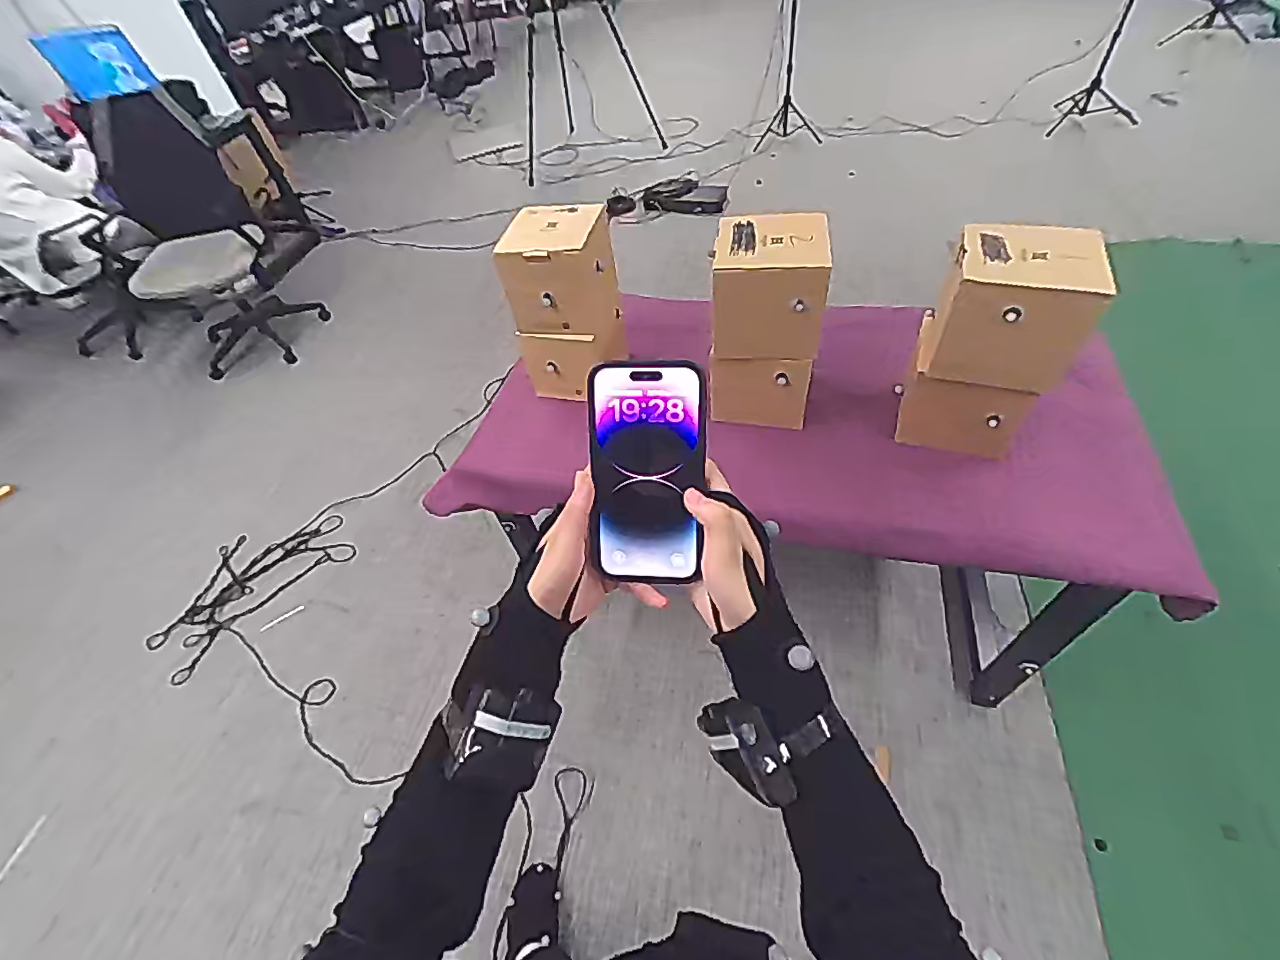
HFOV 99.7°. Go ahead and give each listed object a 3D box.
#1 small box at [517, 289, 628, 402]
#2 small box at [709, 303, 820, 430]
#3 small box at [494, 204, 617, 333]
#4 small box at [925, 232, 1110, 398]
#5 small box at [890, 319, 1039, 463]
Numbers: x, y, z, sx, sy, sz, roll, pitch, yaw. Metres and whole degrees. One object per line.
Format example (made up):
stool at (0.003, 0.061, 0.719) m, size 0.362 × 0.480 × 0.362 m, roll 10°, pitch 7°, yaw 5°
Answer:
small box at (-0.132, -0.288, 1.149) m, size 0.168 × 0.176 × 0.179 m, roll 9°, pitch 53°, yaw 16°
small box at (0.234, -0.214, 1.032) m, size 0.179 × 0.176 × 0.168 m, roll 9°, pitch 52°, yaw 15°
small box at (-0.148, -0.398, 1.028) m, size 0.168 × 0.176 × 0.179 m, roll 6°, pitch 52°, yaw 12°
small box at (0.540, -0.242, 0.799) m, size 0.179 × 0.176 × 0.168 m, roll 14°, pitch 54°, yaw 18°
small box at (0.555, -0.151, 0.935) m, size 0.179 × 0.176 × 0.168 m, roll 14°, pitch 54°, yaw 19°
